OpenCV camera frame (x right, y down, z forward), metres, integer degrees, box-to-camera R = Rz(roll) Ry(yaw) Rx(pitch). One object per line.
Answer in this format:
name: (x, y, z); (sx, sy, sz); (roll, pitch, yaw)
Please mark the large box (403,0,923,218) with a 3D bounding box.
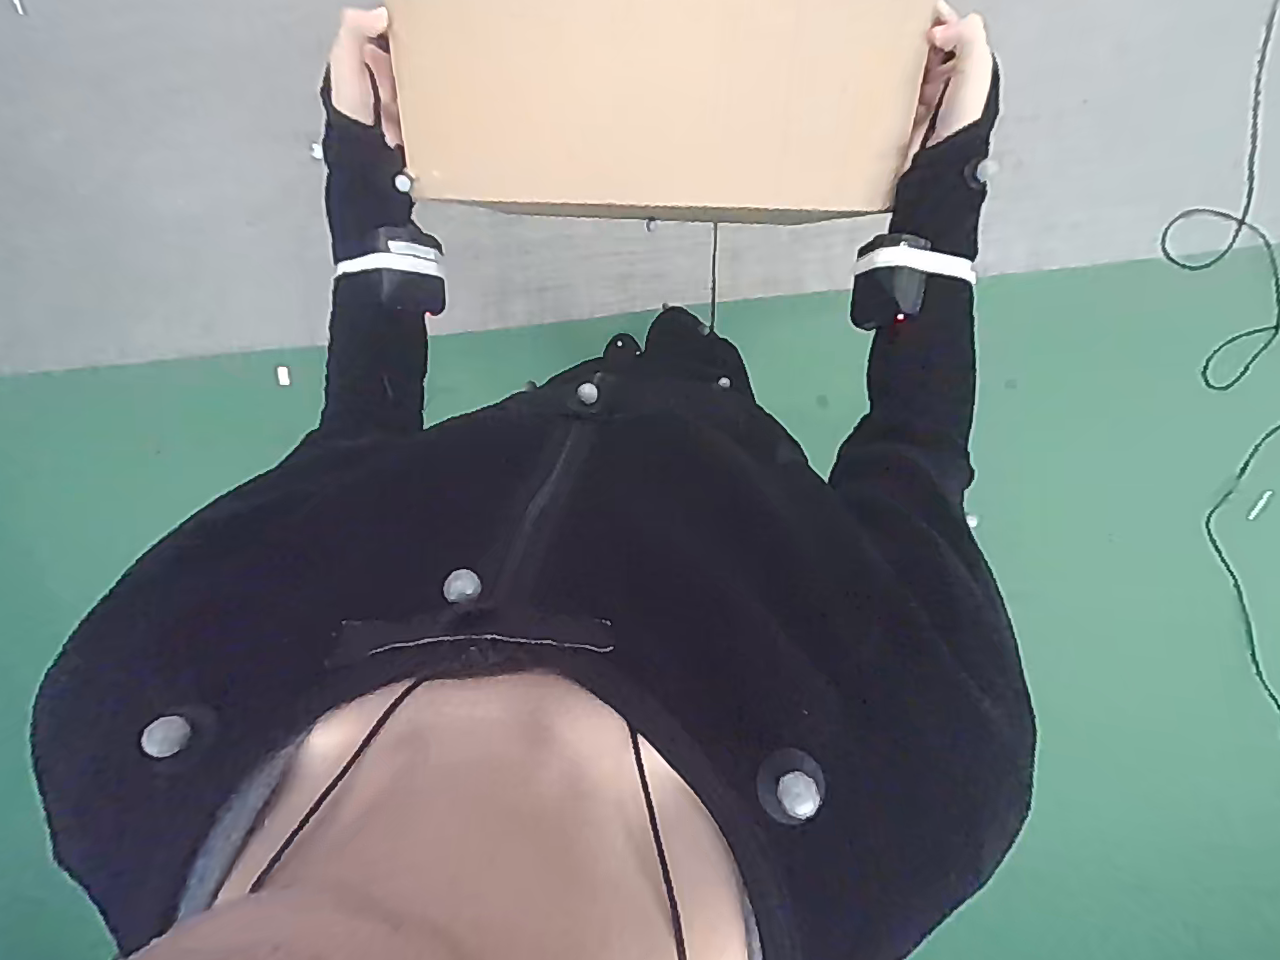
large box: (0.023, -0.436, 0.539); (0.408, 0.320, 0.320); (2, 113, 2)
